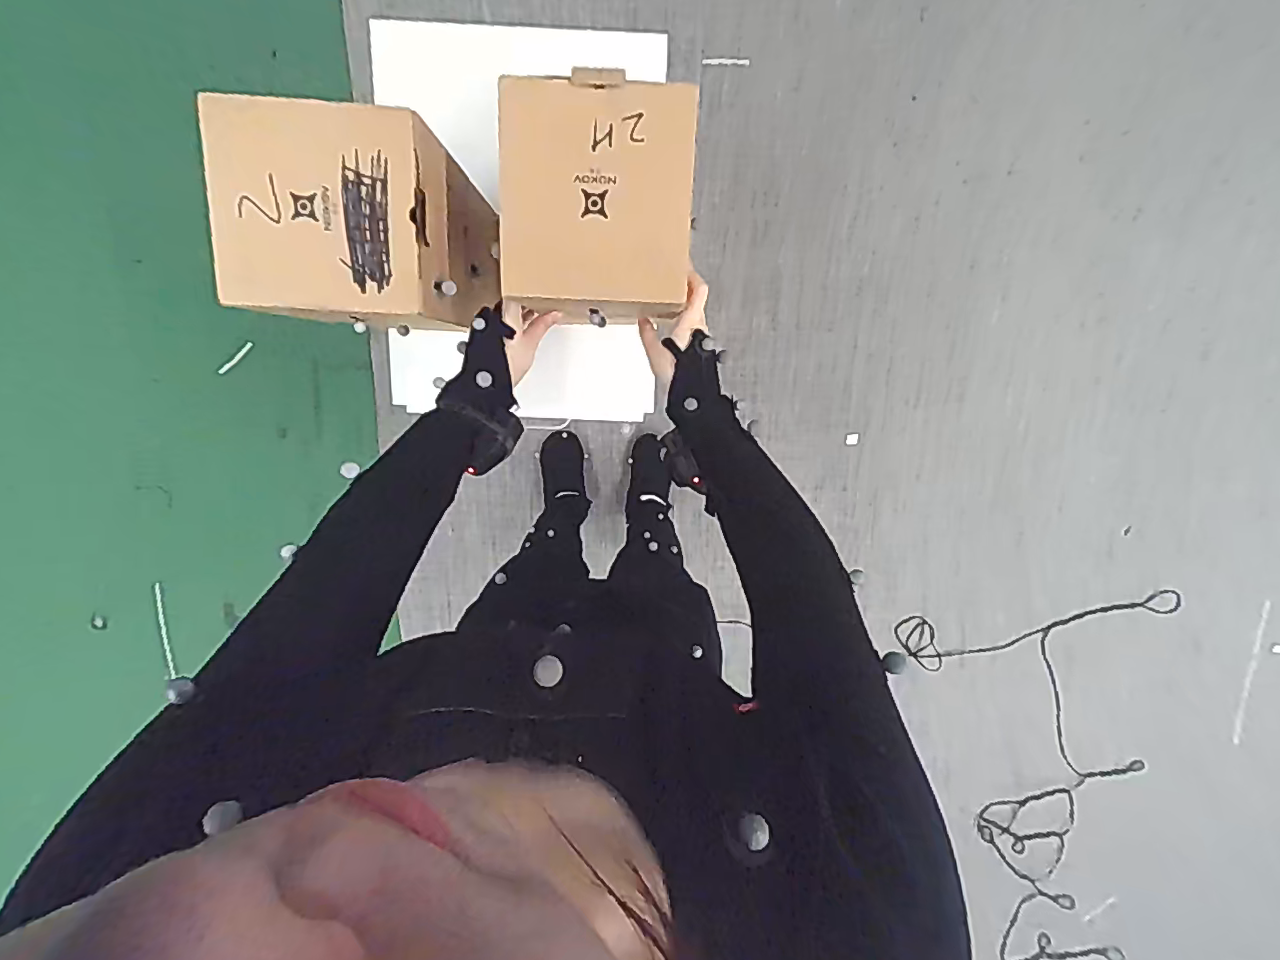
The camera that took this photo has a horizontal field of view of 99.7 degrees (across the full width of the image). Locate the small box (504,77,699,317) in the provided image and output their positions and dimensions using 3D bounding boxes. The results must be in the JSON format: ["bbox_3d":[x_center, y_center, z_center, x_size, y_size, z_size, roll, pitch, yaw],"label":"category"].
[{"bbox_3d":[-0.036,-0.262,0.544,0.168,0.176,0.179,2,102,-1],"label":"small box"}]

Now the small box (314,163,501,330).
[{"bbox_3d":[-0.286,-0.287,0.701,0.179,0.176,0.168,2,102,-4],"label":"small box"}]
